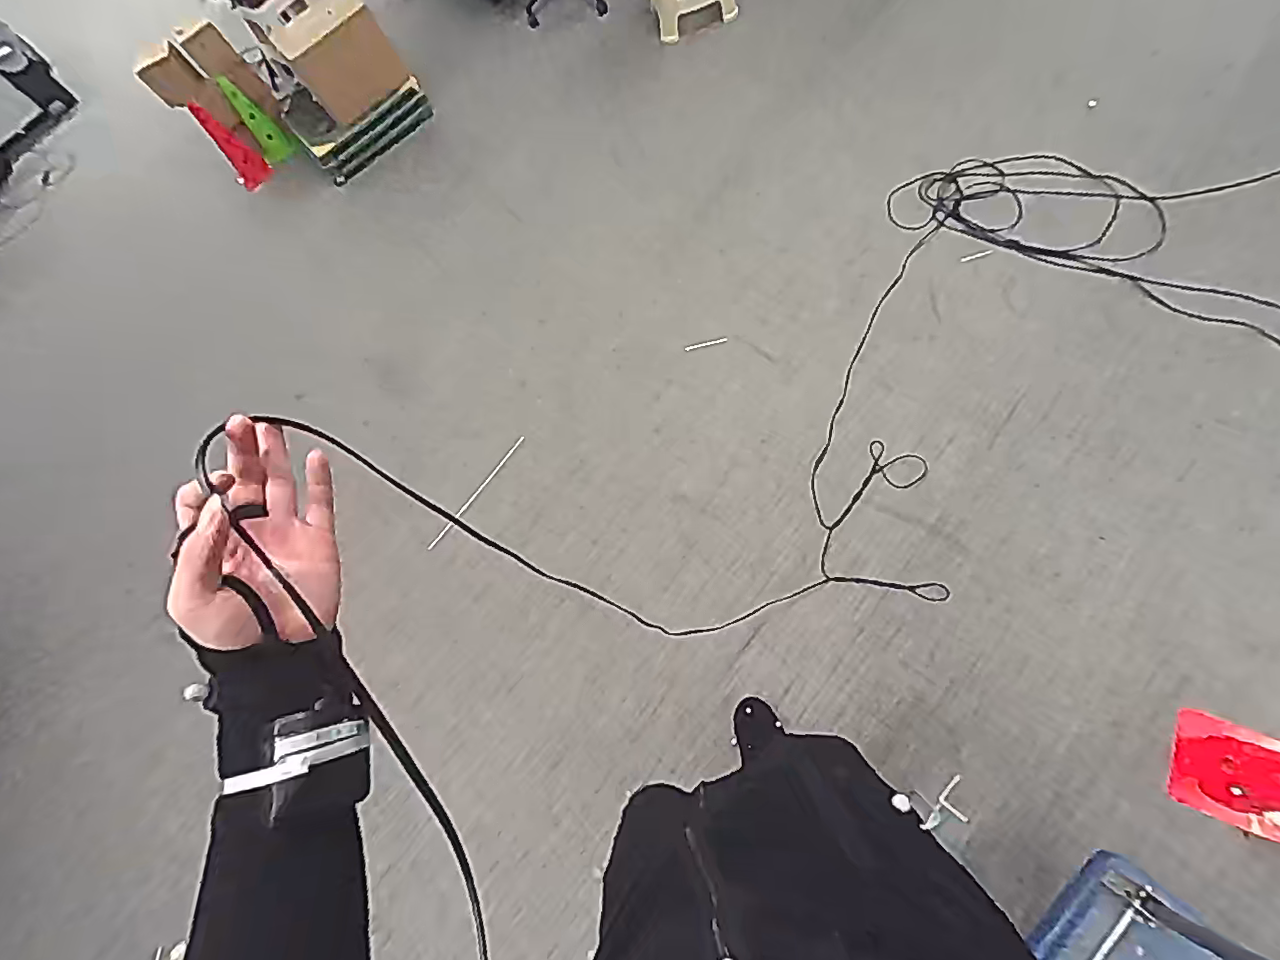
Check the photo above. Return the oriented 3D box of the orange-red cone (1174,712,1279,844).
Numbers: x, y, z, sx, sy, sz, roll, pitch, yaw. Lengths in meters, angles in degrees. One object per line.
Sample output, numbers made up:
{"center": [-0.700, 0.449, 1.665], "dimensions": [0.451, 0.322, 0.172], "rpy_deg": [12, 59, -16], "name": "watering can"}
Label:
{"center": [1.202, 0.549, 0.968], "dimensions": [0.198, 0.360, 0.199], "rpy_deg": [20, 74, 20], "name": "orange-red cone"}
